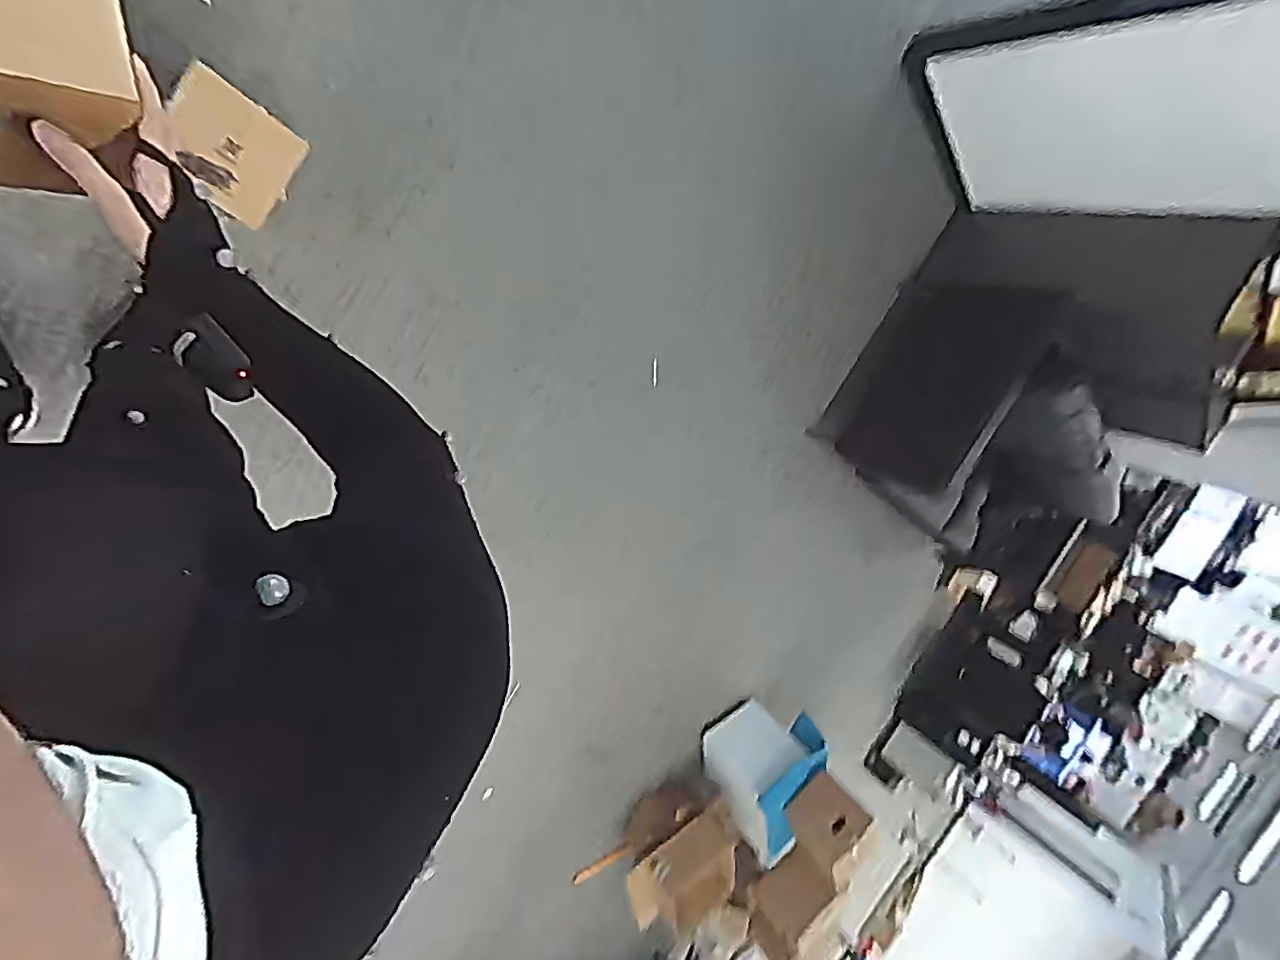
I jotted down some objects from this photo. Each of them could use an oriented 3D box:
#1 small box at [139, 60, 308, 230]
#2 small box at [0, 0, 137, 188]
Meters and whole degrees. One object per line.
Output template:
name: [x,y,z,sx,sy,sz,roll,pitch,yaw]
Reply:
small box: [-0.703,-0.557,0.924,0.168,0.176,0.179,31,91,-43]
small box: [-0.528,-0.359,0.424,0.179,0.176,0.168,-13,93,-39]
